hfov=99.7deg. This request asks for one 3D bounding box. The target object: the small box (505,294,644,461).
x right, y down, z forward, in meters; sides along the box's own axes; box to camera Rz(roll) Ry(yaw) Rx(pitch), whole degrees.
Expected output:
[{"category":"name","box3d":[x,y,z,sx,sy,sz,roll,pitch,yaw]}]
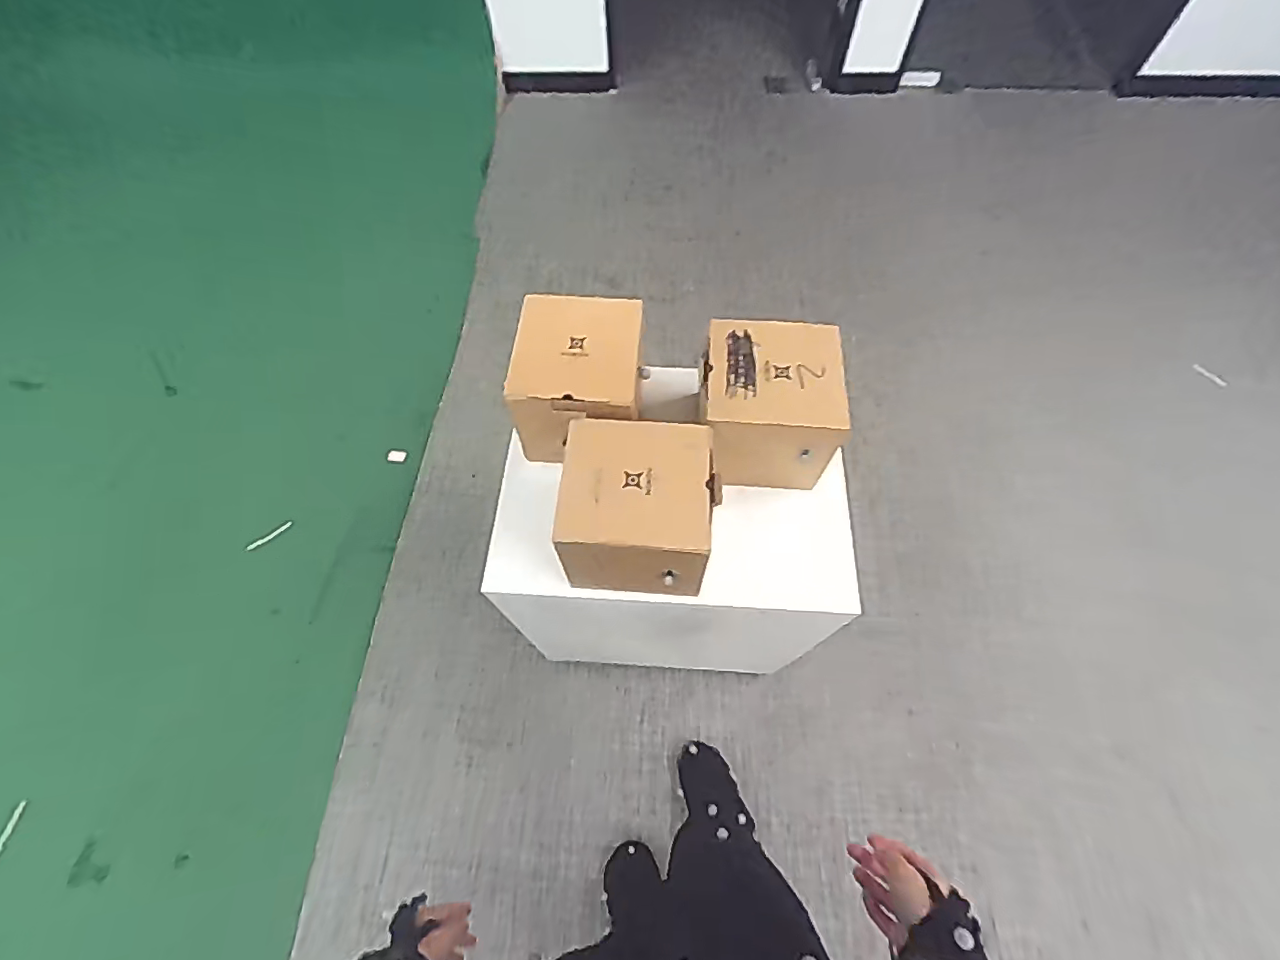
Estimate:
[{"category":"small box","box3d":[-0.084,-0.139,0.781,0.168,0.176,0.179,4,64,1]}]

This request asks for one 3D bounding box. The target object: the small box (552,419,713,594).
[{"category":"small box","box3d":[-0.003,0.040,0.688,0.179,0.176,0.168,3,61,3]}]
